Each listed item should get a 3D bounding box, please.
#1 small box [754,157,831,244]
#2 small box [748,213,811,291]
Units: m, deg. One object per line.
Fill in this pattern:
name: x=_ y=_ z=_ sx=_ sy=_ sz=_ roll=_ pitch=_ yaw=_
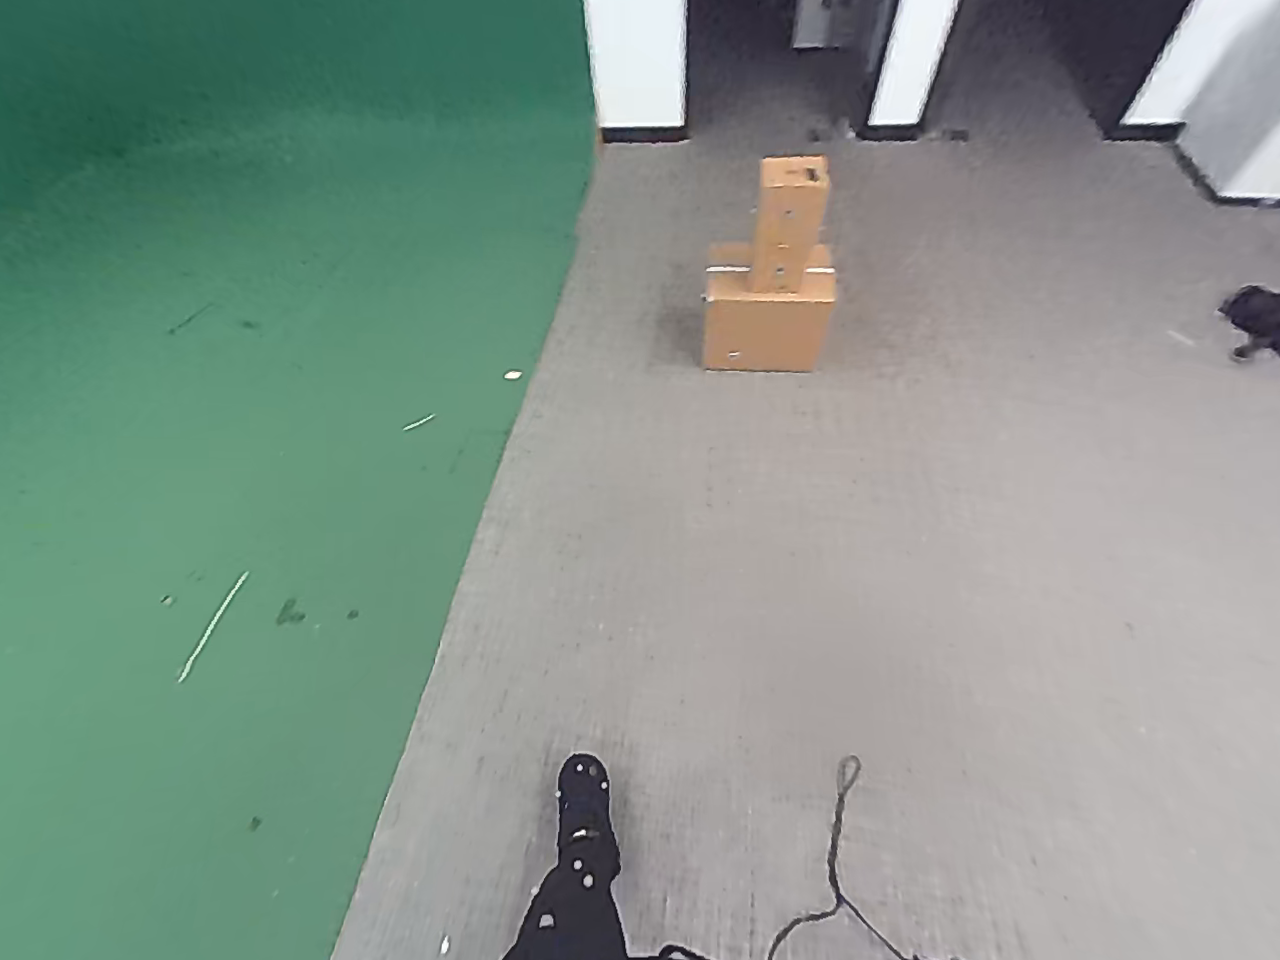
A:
small box: x=0.430 y=-0.798 z=1.553 sx=0.179 sy=0.176 sz=0.168 roll=2 pitch=56 yaw=4
small box: x=0.431 y=-0.711 z=1.693 sx=0.168 sy=0.176 sz=0.179 roll=2 pitch=57 yaw=5
